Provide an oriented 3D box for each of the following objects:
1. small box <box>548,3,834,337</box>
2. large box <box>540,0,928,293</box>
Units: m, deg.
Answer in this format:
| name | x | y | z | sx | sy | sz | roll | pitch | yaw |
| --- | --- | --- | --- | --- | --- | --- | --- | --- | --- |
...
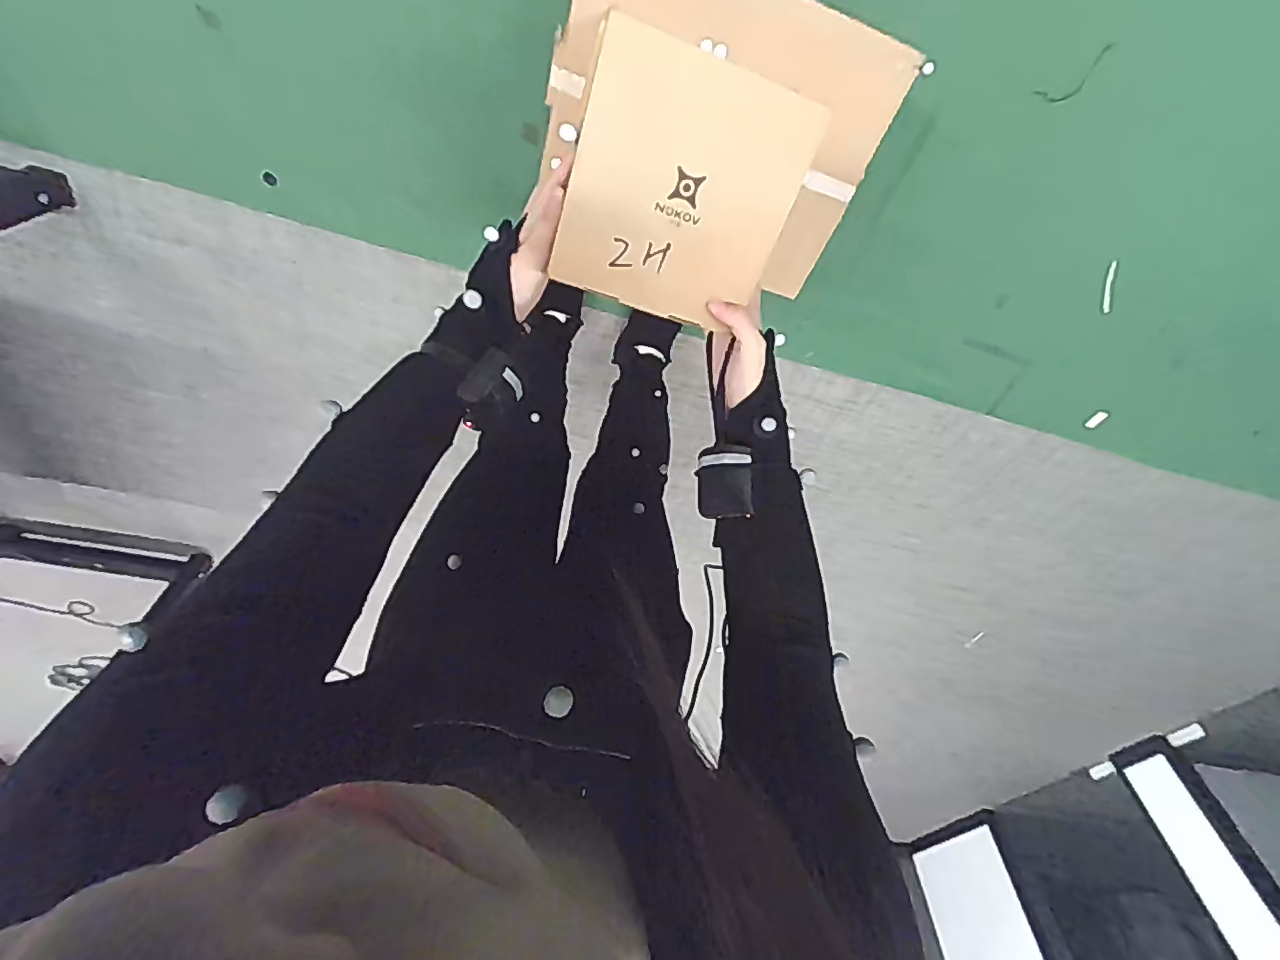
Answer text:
| name | x | y | z | sx | sy | sz | roll | pitch | yaw |
| --- | --- | --- | --- | --- | --- | --- | --- | --- | --- |
| small box | 0.025 | -0.253 | 0.459 | 0.168 | 0.176 | 0.179 | 14 | 124 | -13 |
| large box | 0.093 | -0.527 | 0.780 | 0.408 | 0.320 | 0.320 | 13 | 132 | -13 |
